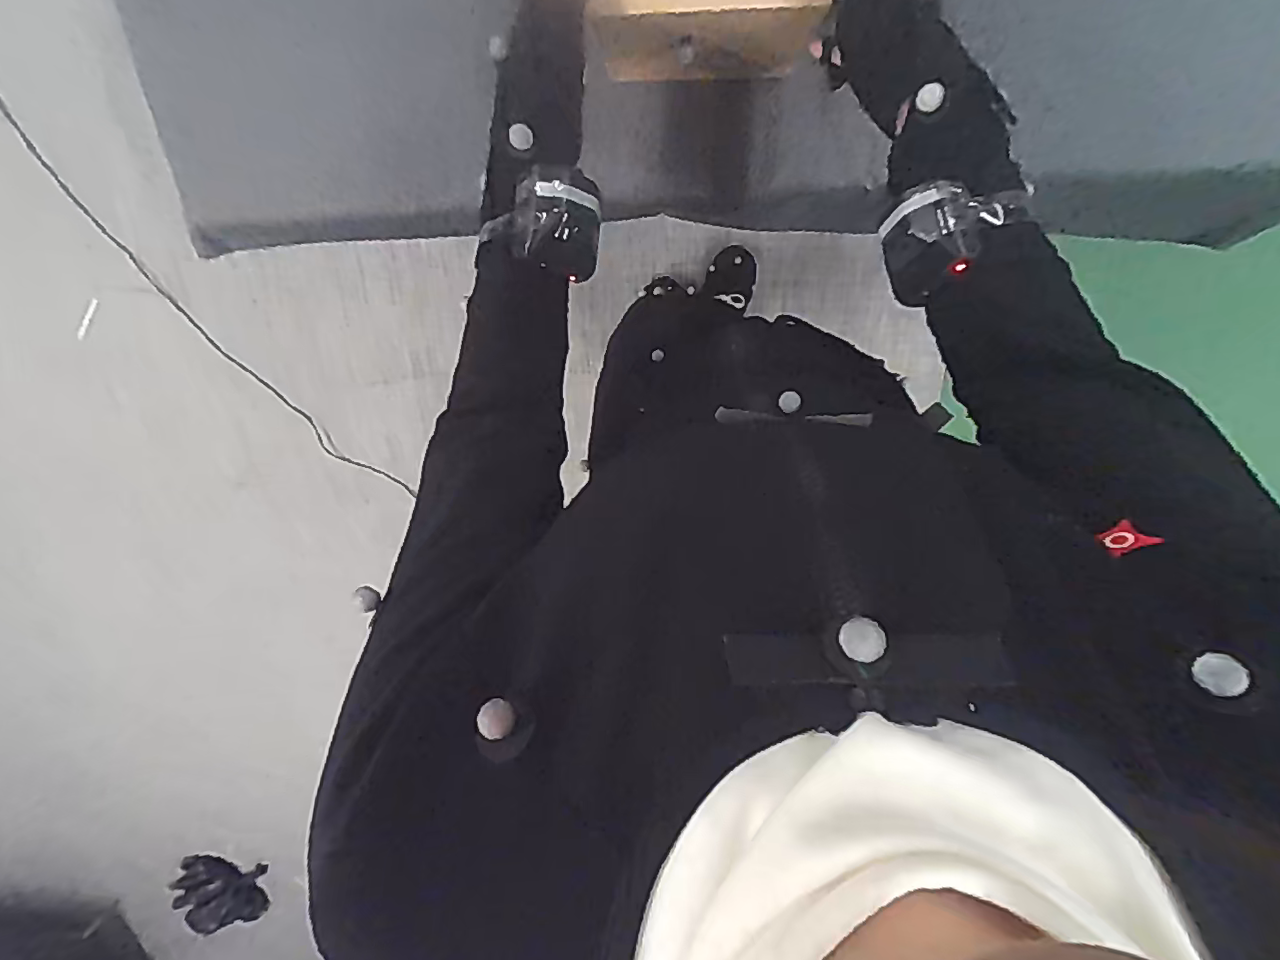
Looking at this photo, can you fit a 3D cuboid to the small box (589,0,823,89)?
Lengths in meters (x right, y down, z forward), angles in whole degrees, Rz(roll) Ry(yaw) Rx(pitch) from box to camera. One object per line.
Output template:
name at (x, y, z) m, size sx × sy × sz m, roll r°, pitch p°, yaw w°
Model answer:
small box at (0.054, -0.439, 0.432) m, size 0.179 × 0.176 × 0.168 m, roll -1°, pitch 111°, yaw 5°

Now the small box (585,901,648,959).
small box at (-0.075, 1.592, 1.866) m, size 0.179 × 0.176 × 0.168 m, roll -7°, pitch 113°, yaw 10°
